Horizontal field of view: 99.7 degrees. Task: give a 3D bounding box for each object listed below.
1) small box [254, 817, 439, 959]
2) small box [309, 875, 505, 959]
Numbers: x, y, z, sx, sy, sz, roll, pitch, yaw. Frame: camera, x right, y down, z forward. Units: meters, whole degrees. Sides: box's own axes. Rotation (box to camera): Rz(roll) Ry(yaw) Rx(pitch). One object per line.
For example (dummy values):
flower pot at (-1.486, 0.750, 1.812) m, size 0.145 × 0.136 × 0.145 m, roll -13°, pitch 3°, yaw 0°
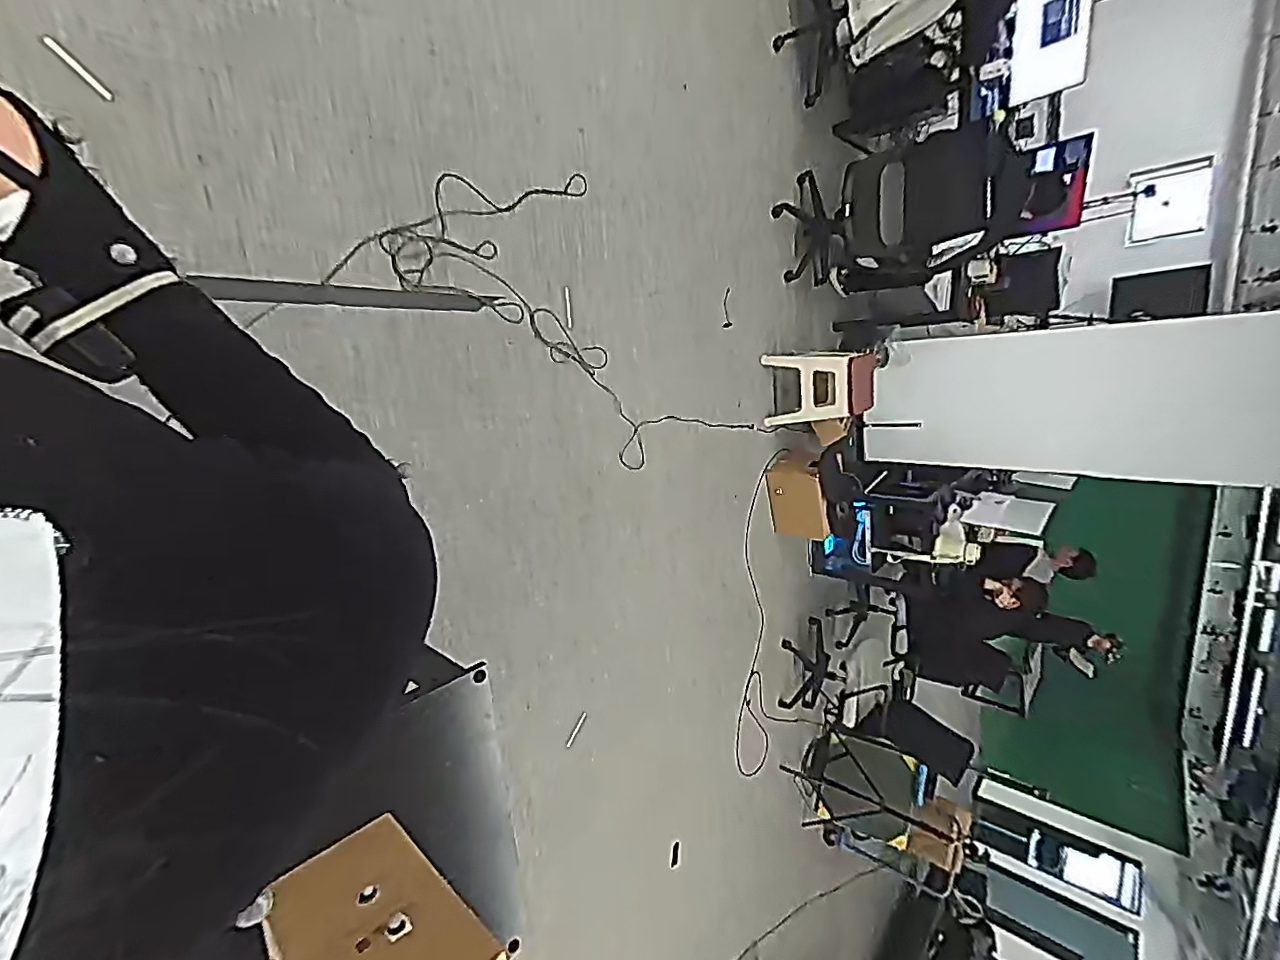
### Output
small box at (-0.385, 0.607, 0.729) m, size 0.179 × 0.176 × 0.168 m, roll -15°, pitch 105°, yaw -45°
small box at (-0.263, 0.618, 0.622) m, size 0.168 × 0.176 × 0.179 m, roll -17°, pitch 106°, yaw -47°
